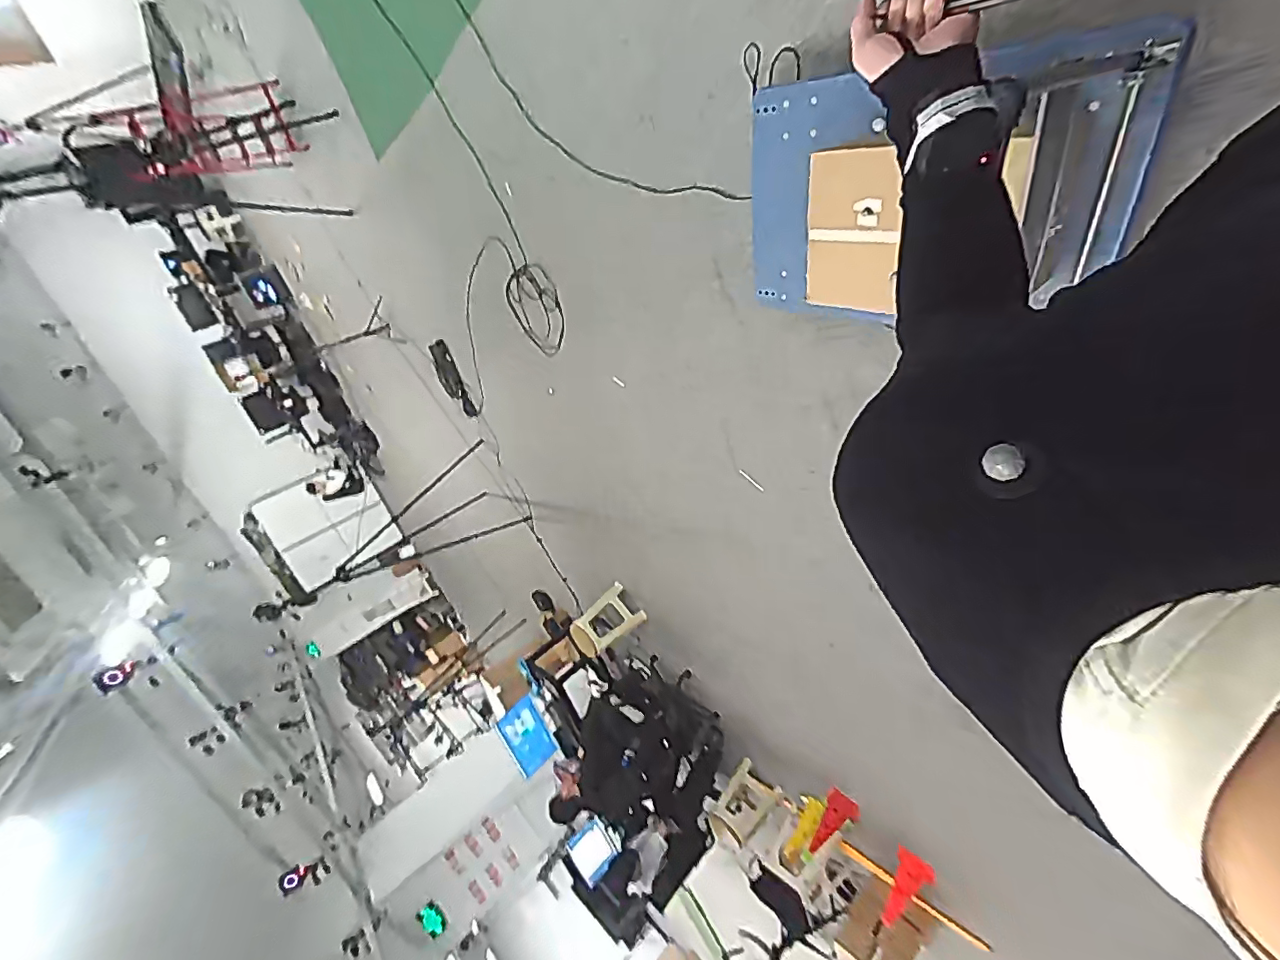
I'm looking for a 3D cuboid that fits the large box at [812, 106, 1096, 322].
[{"bbox_3d":[0.623,-0.551,1.125,0.408,0.320,0.320,26,137,41],"label":"large box"}]
